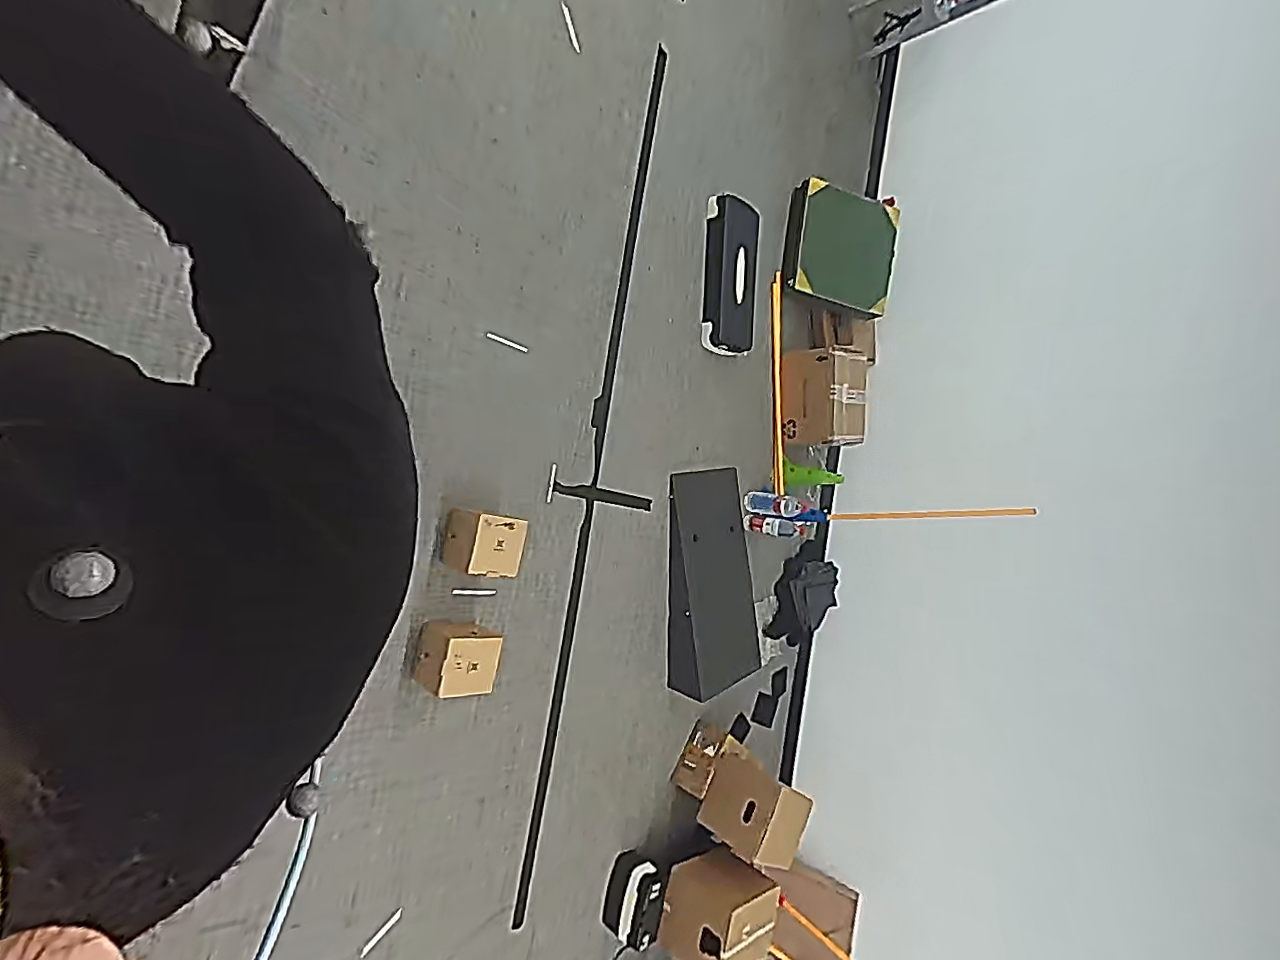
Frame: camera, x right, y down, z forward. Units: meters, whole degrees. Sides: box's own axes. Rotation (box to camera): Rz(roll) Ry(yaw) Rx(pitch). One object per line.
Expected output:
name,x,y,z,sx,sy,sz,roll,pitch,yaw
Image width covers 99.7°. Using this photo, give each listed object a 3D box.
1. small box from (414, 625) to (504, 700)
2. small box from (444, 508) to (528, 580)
small box,-0.536,0.532,1.597,0.179,0.176,0.168,16,83,-46
small box,-0.468,0.191,1.626,0.168,0.176,0.179,16,84,-46
